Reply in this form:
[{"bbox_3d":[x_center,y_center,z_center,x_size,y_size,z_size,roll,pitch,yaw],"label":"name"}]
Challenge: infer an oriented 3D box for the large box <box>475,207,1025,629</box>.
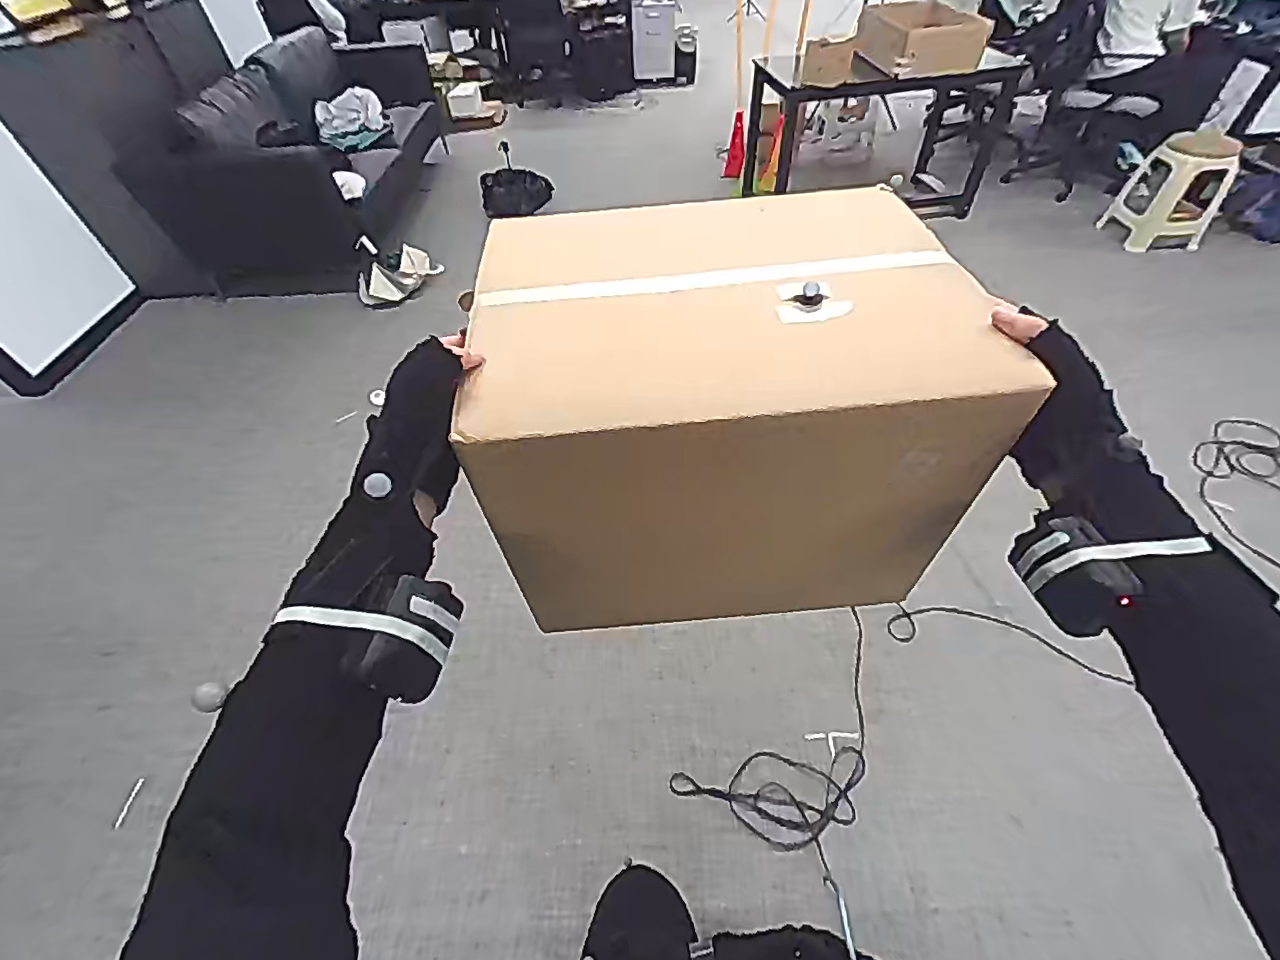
[{"bbox_3d":[0.071,-0.061,0.587,0.408,0.320,0.320,-5,51,-1],"label":"large box"}]
